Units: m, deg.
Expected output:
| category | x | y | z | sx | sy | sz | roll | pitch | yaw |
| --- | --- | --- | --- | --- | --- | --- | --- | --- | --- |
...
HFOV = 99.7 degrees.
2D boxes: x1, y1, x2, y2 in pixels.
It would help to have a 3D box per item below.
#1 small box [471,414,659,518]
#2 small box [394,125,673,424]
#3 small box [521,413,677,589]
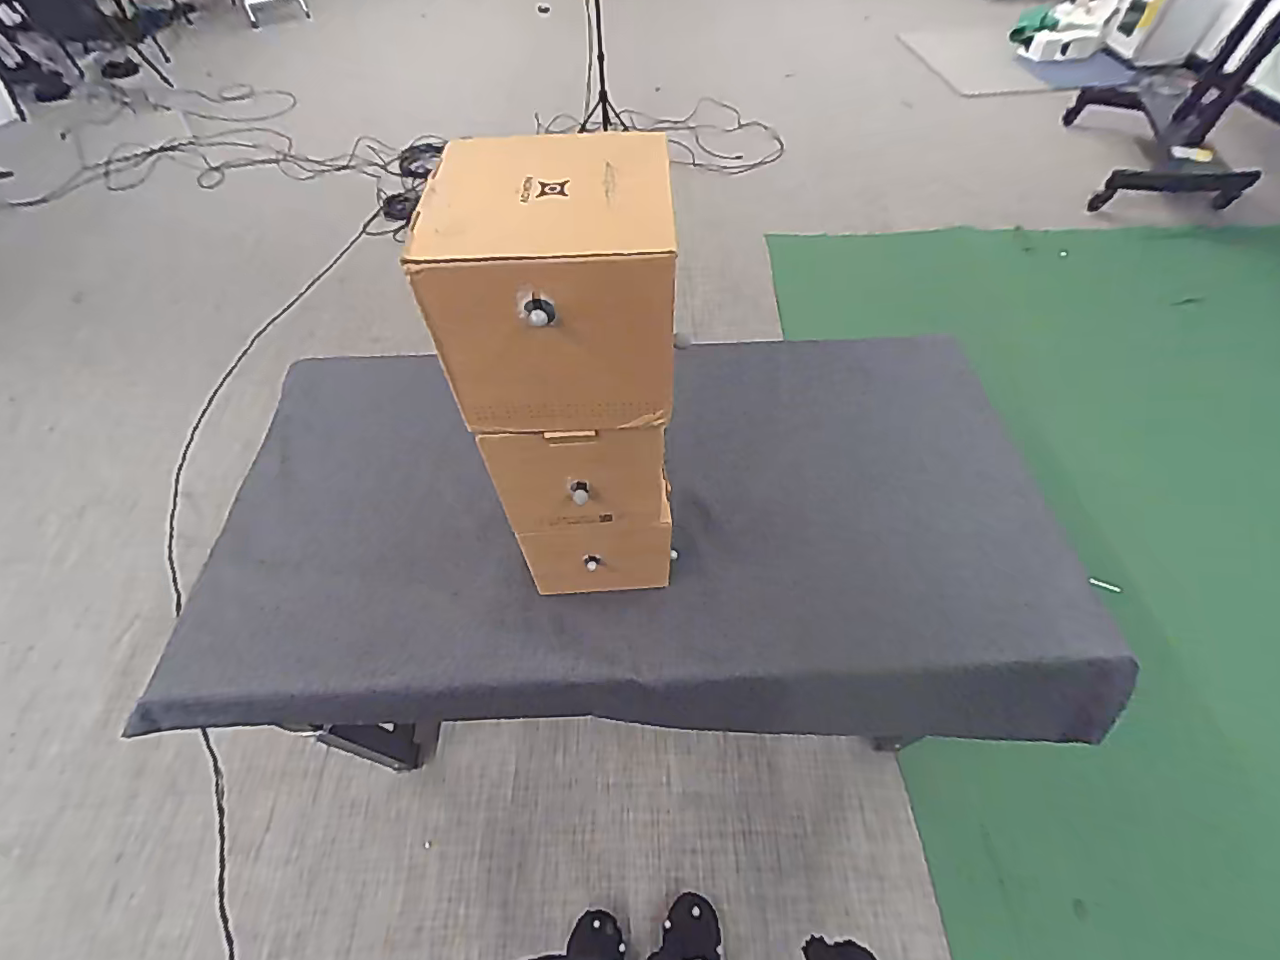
| category | x | y | z | sx | sy | sz | roll | pitch | yaw |
| --- | --- | --- | --- | --- | --- | --- | --- | --- | --- |
| small box | -0.066 | -0.069 | 0.576 | 0.168 | 0.176 | 0.179 | -3 | 55 | -1 |
| small box | -0.065 | -0.158 | 0.440 | 0.179 | 0.176 | 0.168 | -1 | 56 | 0 |
| small box | -0.054 | 0.029 | 0.706 | 0.179 | 0.176 | 0.168 | -5 | 55 | -4 |
